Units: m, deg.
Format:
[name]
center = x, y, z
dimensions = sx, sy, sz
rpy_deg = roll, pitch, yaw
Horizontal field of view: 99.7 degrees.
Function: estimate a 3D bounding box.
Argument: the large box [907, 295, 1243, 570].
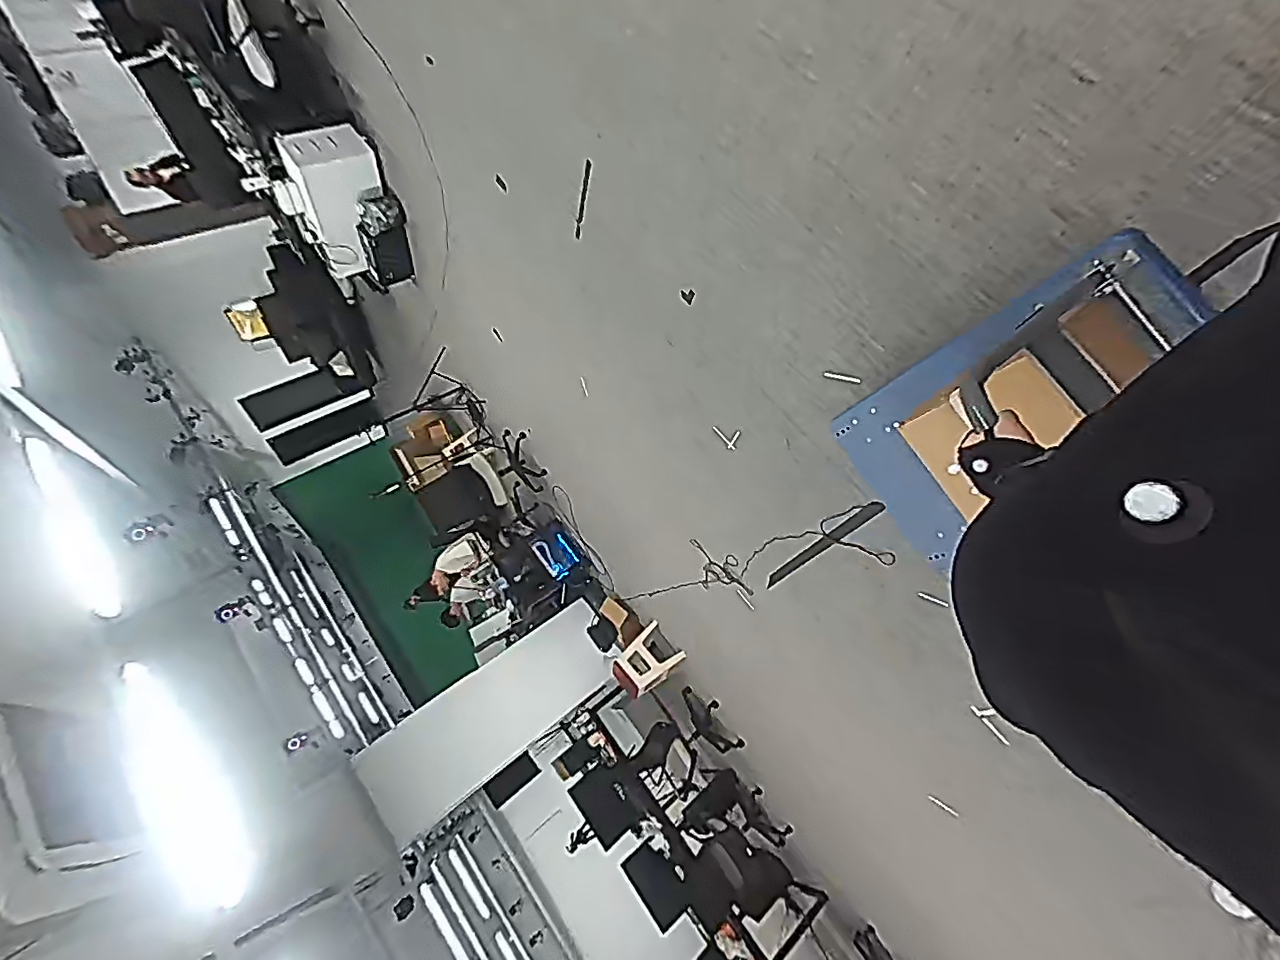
[large box]
center = 0.860, -0.086, 1.099
dimensions = 0.408, 0.320, 0.320
rpy_deg = 56, 154, 6
